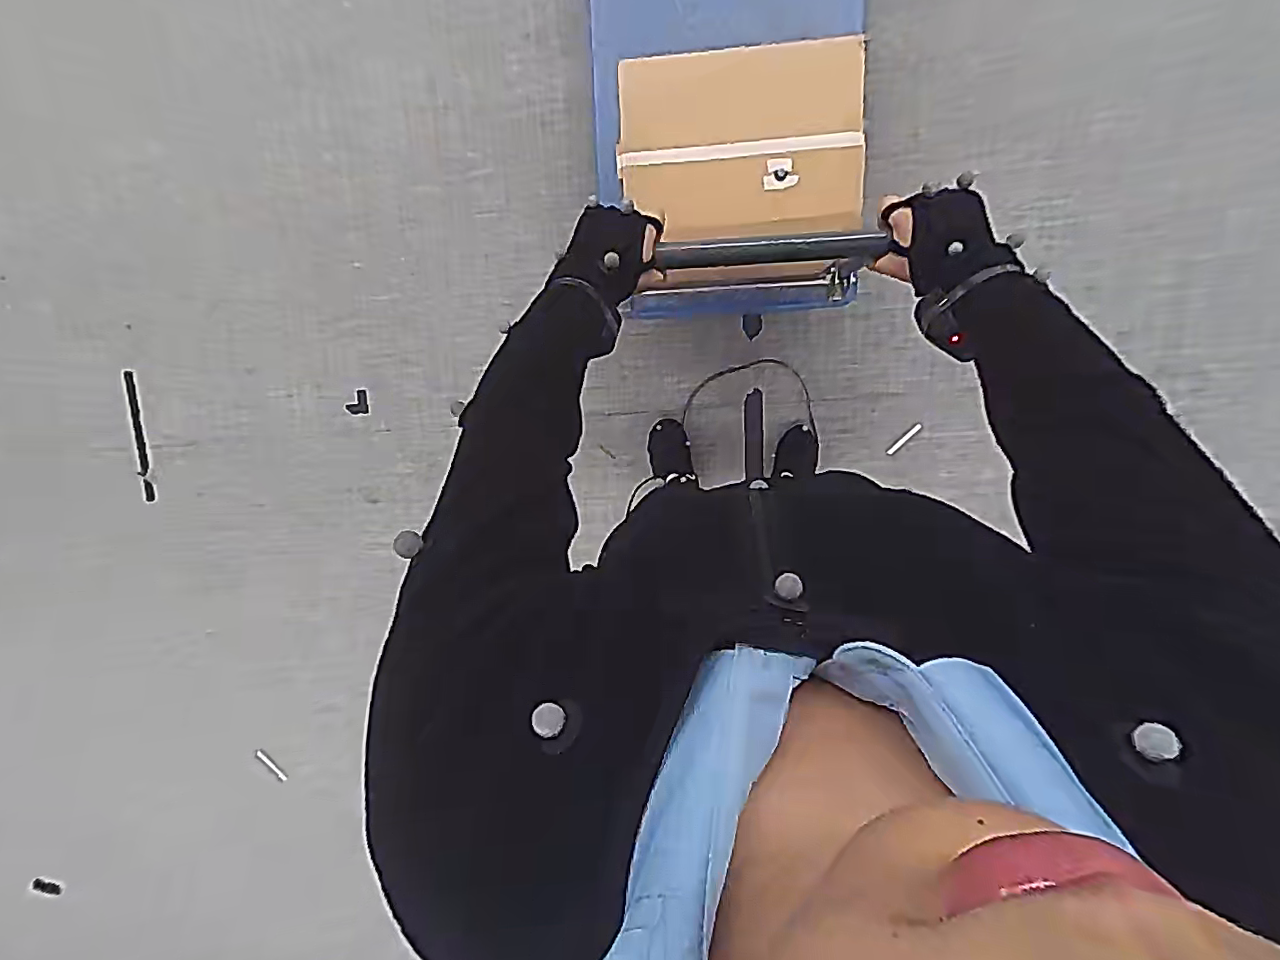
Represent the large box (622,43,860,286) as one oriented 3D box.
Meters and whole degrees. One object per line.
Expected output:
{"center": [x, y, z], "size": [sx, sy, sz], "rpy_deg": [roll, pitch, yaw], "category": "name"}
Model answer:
{"center": [0.184, -0.587, 1.078], "size": [0.408, 0.320, 0.320], "rpy_deg": [-2, 100, 5], "category": "large box"}
